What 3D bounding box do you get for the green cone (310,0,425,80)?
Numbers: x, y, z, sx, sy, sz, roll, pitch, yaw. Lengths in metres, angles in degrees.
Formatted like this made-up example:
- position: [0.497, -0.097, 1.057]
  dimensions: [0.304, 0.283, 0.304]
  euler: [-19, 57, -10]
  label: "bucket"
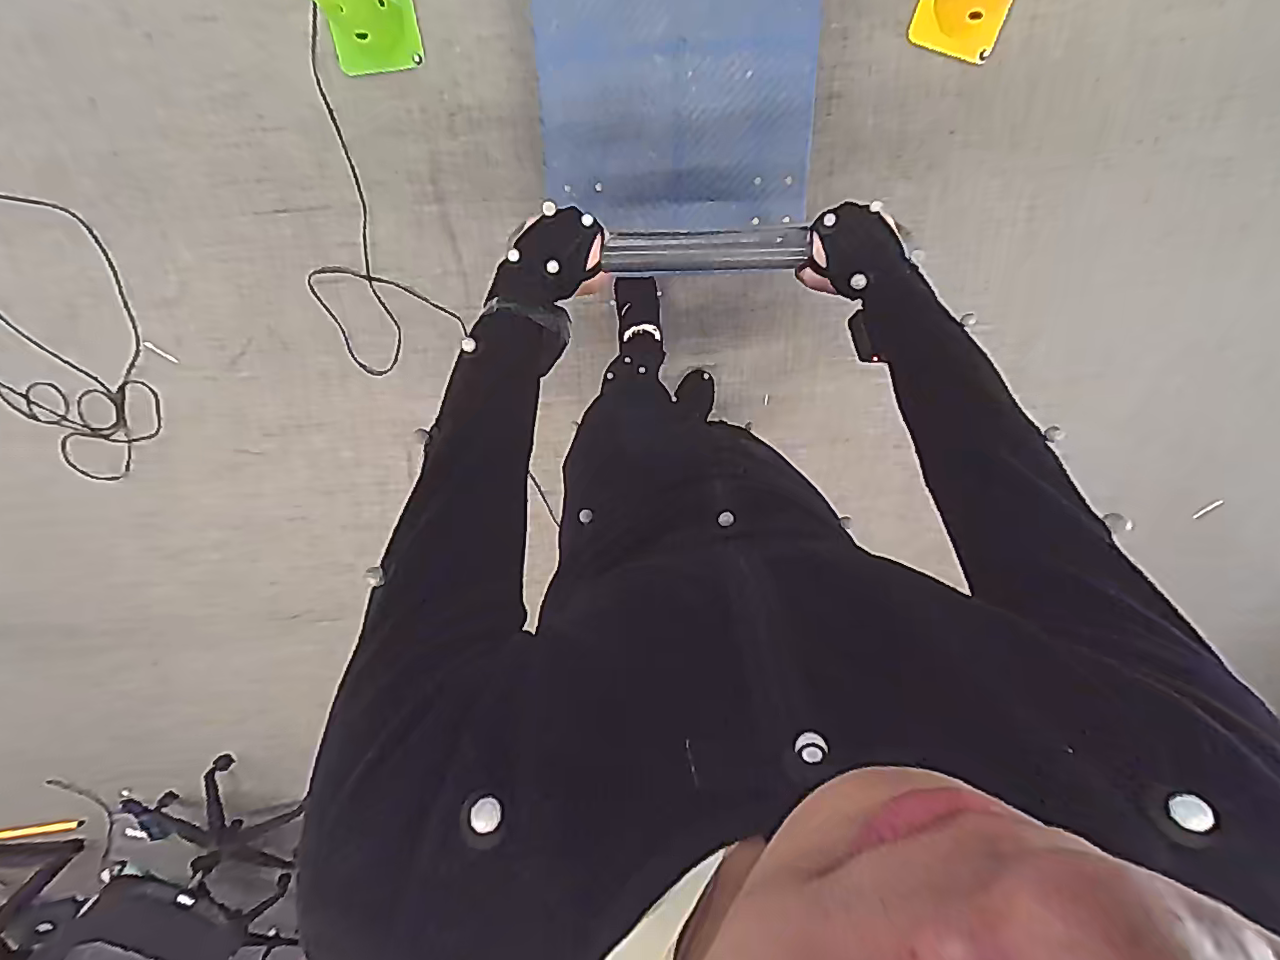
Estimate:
- position: [-0.608, -0.968, 1.061]
  dimensions: [0.202, 0.368, 0.200]
  euler: [-5, 112, 5]
  label: "green cone"
